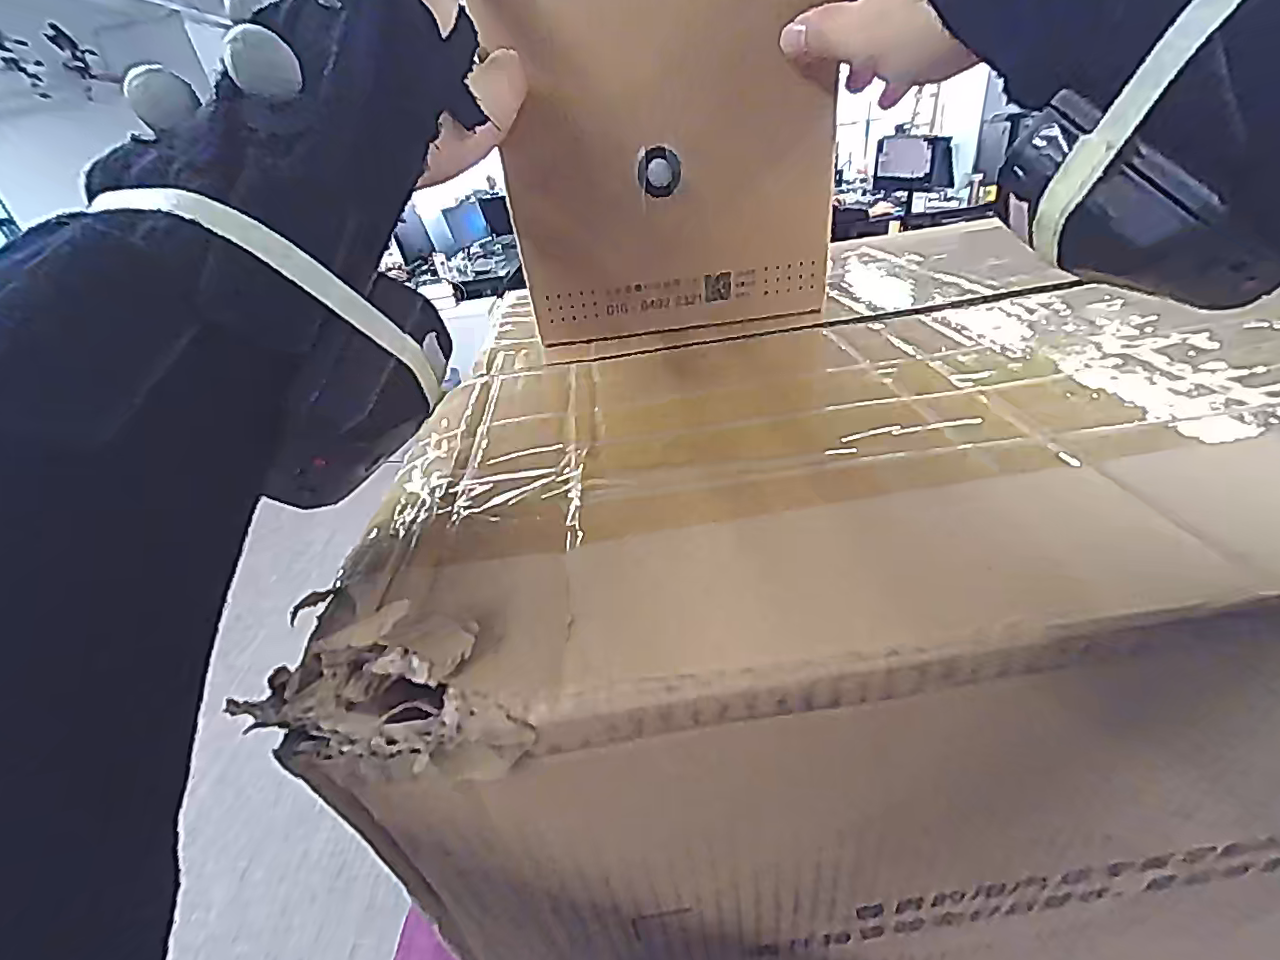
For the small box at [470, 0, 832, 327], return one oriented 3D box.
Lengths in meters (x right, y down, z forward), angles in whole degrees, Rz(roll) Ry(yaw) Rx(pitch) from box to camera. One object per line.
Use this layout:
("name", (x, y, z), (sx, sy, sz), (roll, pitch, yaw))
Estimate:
("small box", (0.014, -0.201, 0.339), (0.168, 0.176, 0.179), (-6, 32, 2))
